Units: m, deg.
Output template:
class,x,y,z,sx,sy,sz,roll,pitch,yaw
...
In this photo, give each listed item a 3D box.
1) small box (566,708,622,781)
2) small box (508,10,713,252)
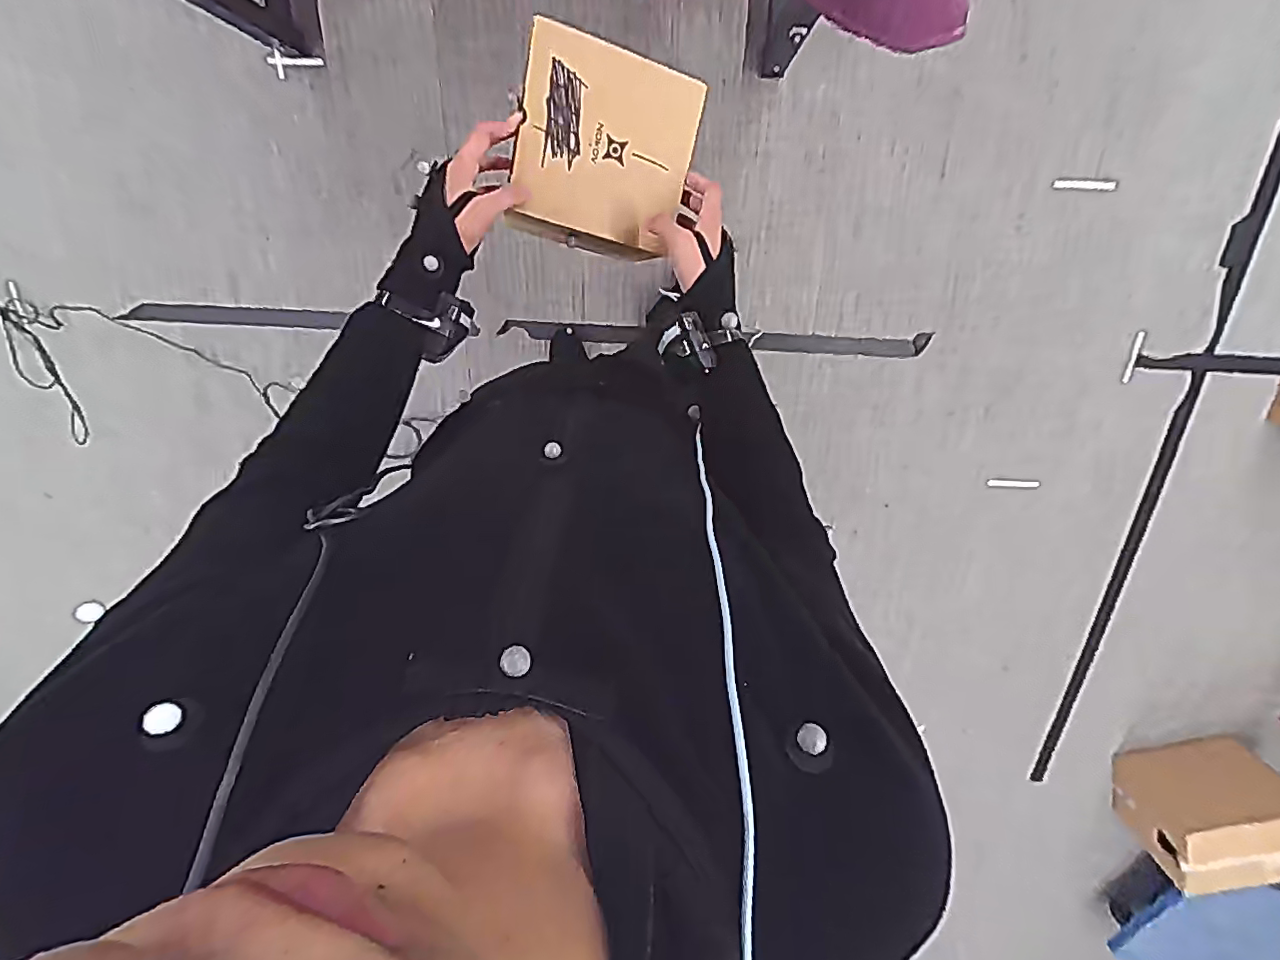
class,x,y,z,sx,sy,sz,roll,pitch,yaw
small box,-0.168,0.967,1.991,0.179,0.176,0.168,9,111,-3
small box,-0.047,-0.362,0.605,0.179,0.176,0.168,8,107,-19
